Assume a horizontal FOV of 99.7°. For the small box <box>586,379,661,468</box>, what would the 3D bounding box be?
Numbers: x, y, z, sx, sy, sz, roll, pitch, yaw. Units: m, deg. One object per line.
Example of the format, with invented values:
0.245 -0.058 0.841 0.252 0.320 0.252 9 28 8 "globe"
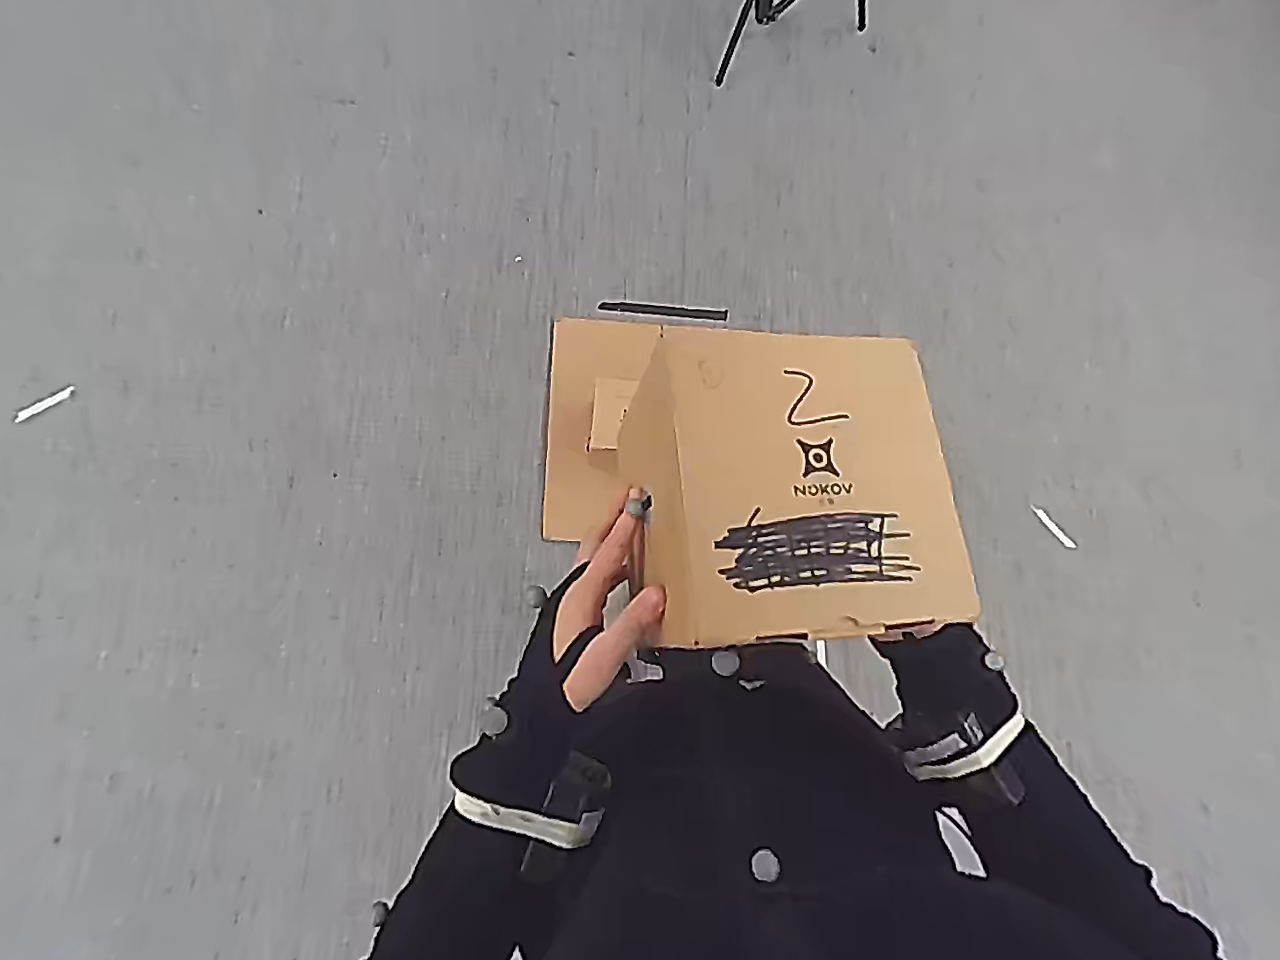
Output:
-0.045 -0.132 1.343 0.168 0.176 0.179 4 77 -8 "small box"
